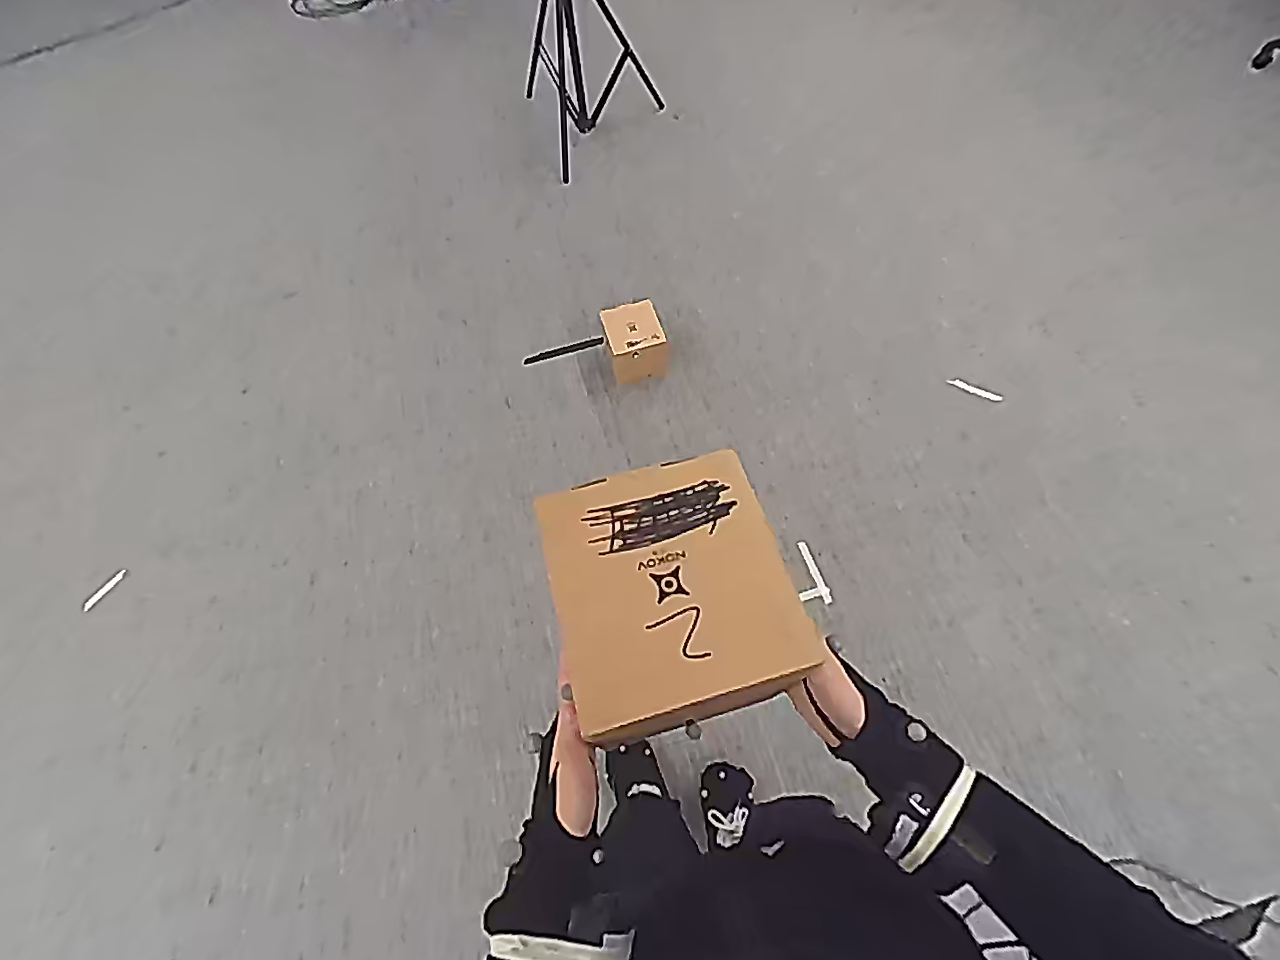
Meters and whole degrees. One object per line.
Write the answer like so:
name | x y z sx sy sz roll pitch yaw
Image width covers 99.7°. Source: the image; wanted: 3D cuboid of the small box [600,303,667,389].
small box | -0.019 -0.416 1.694 0.168 0.176 0.179 -17 64 -5
